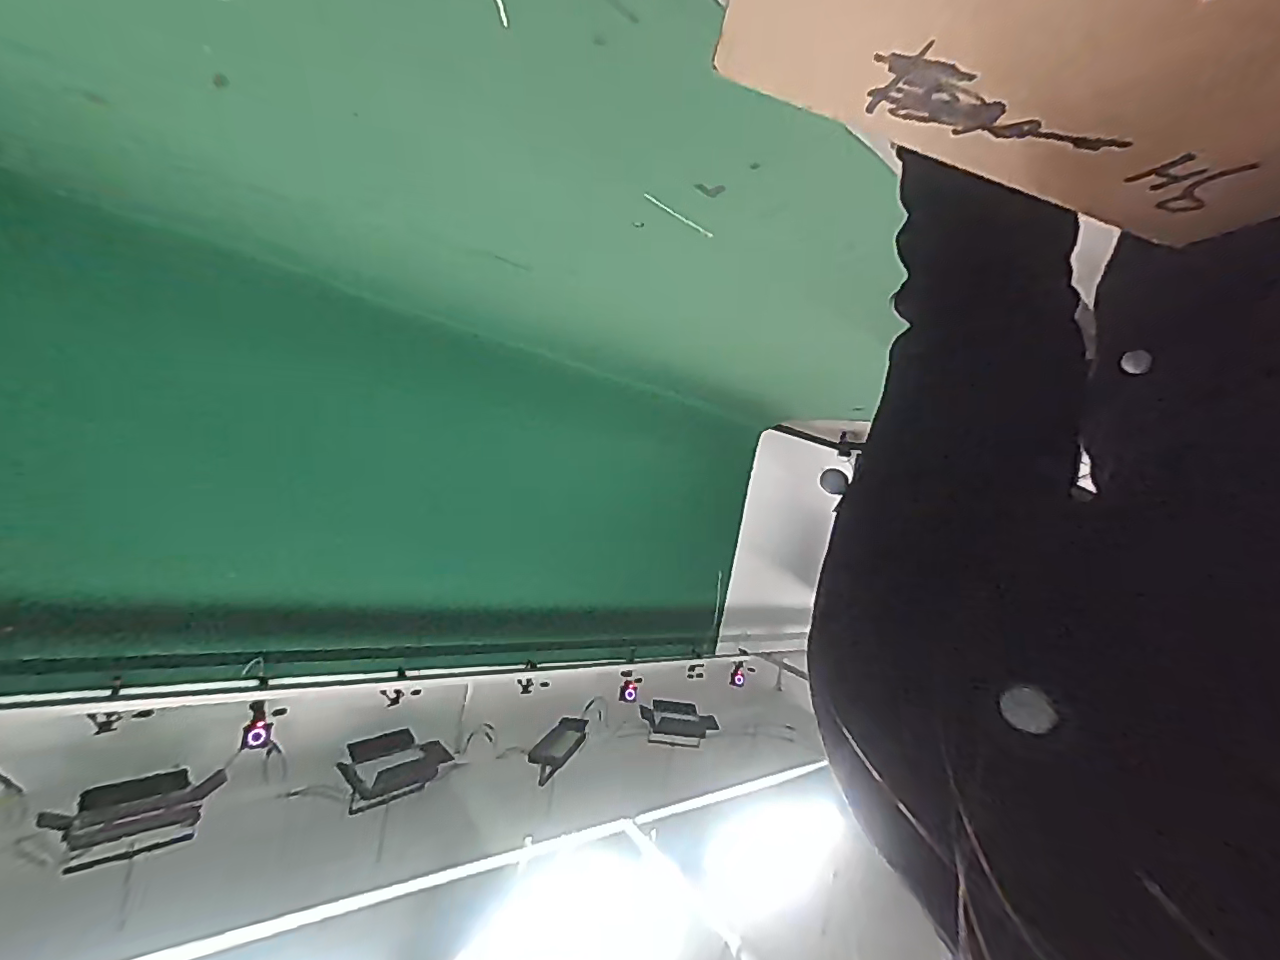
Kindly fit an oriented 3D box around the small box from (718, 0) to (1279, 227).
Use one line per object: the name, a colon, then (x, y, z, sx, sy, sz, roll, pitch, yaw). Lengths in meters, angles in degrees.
small box: (0.129, -0.180, 0.085, 0.168, 0.176, 0.179, 17, -179, -4)
